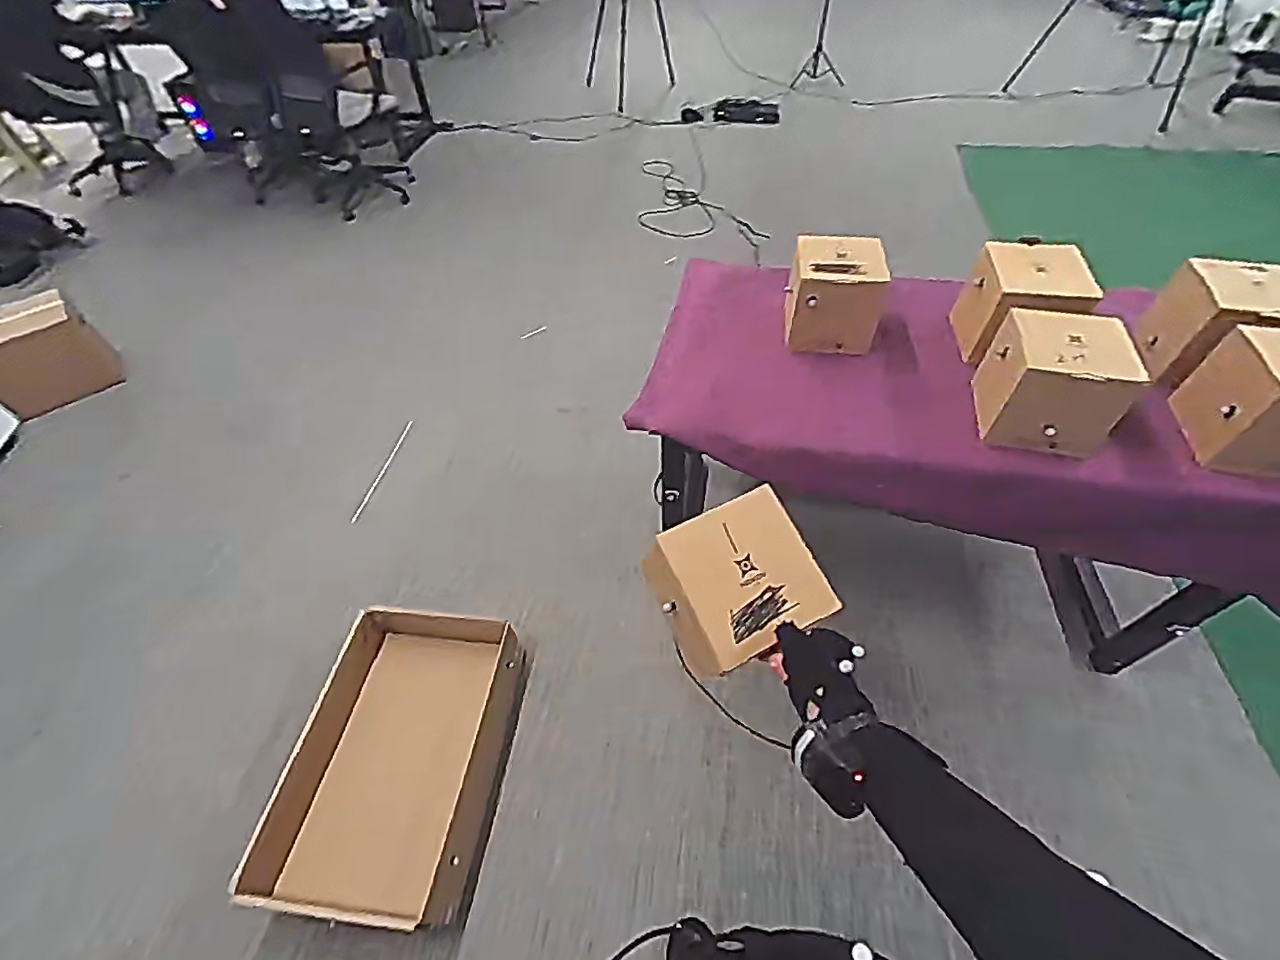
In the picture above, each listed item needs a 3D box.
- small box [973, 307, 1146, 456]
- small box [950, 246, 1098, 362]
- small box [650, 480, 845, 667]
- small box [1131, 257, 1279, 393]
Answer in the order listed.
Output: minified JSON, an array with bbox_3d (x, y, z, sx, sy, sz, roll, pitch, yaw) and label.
[{"bbox_3d":[0.698,-0.169,0.928,0.168,0.176,0.179,10,51,12],"label":"small box"},{"bbox_3d":[0.744,-0.341,1.072,0.168,0.176,0.179,6,51,8],"label":"small box"},{"bbox_3d":[0.126,0.130,0.712,0.168,0.176,0.179,-23,73,-14],"label":"small box"},{"bbox_3d":[1.073,-0.285,1.004,0.168,0.176,0.179,12,53,13],"label":"small box"}]
